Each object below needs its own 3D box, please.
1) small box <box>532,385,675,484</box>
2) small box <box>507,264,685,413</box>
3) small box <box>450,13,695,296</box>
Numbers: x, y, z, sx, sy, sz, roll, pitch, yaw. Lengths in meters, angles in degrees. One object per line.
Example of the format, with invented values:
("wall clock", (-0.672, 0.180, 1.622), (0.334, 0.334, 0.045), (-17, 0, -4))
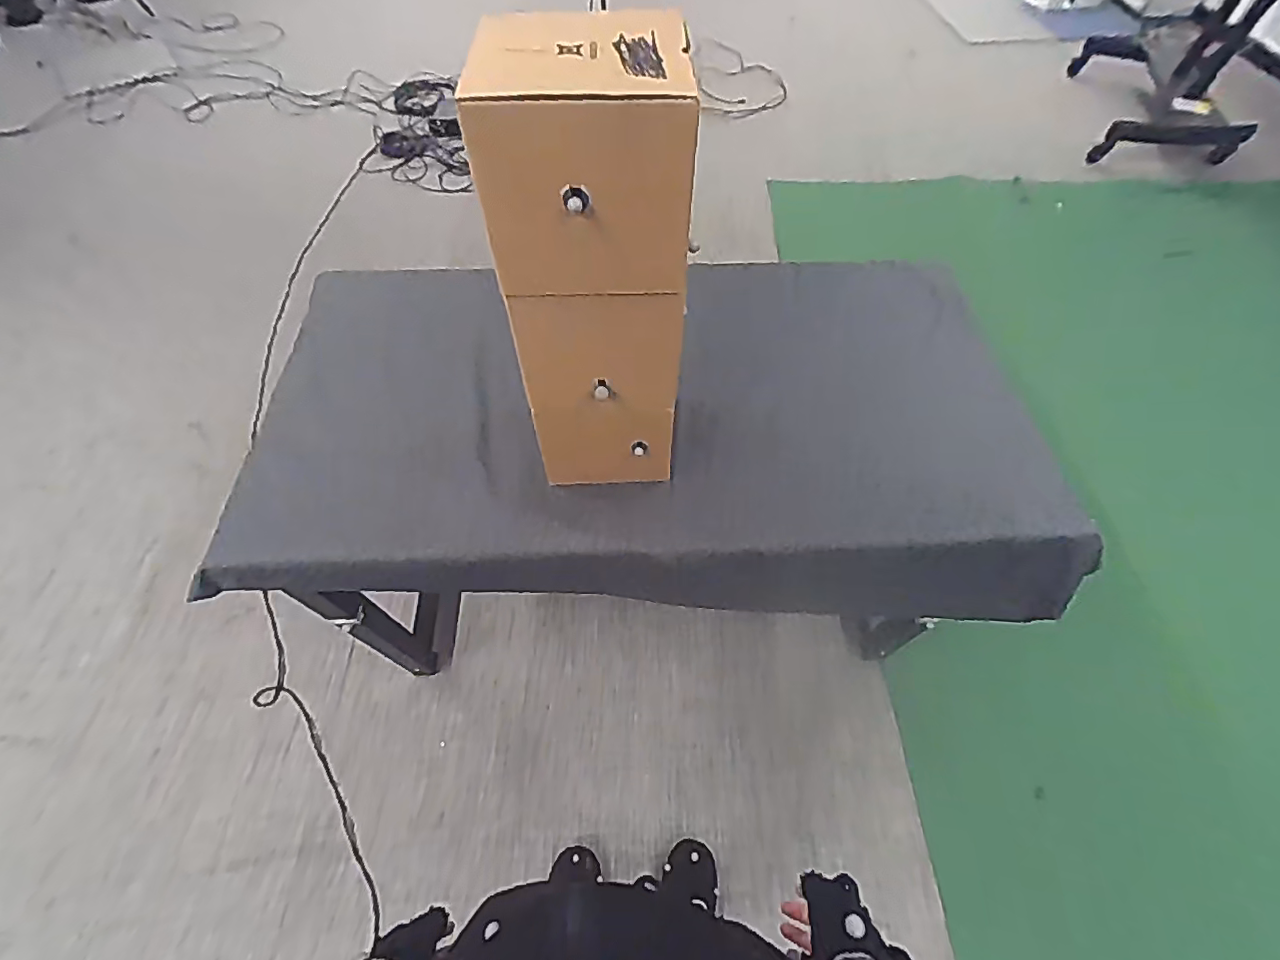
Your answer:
("small box", (-0.047, -0.108, 0.767), (0.179, 0.176, 0.168), (-4, 57, -1))
("small box", (-0.049, -0.195, 0.632), (0.179, 0.176, 0.168), (-5, 58, -2))
("small box", (-0.049, -0.287, 0.492), (0.179, 0.176, 0.168), (-2, 57, 0))
